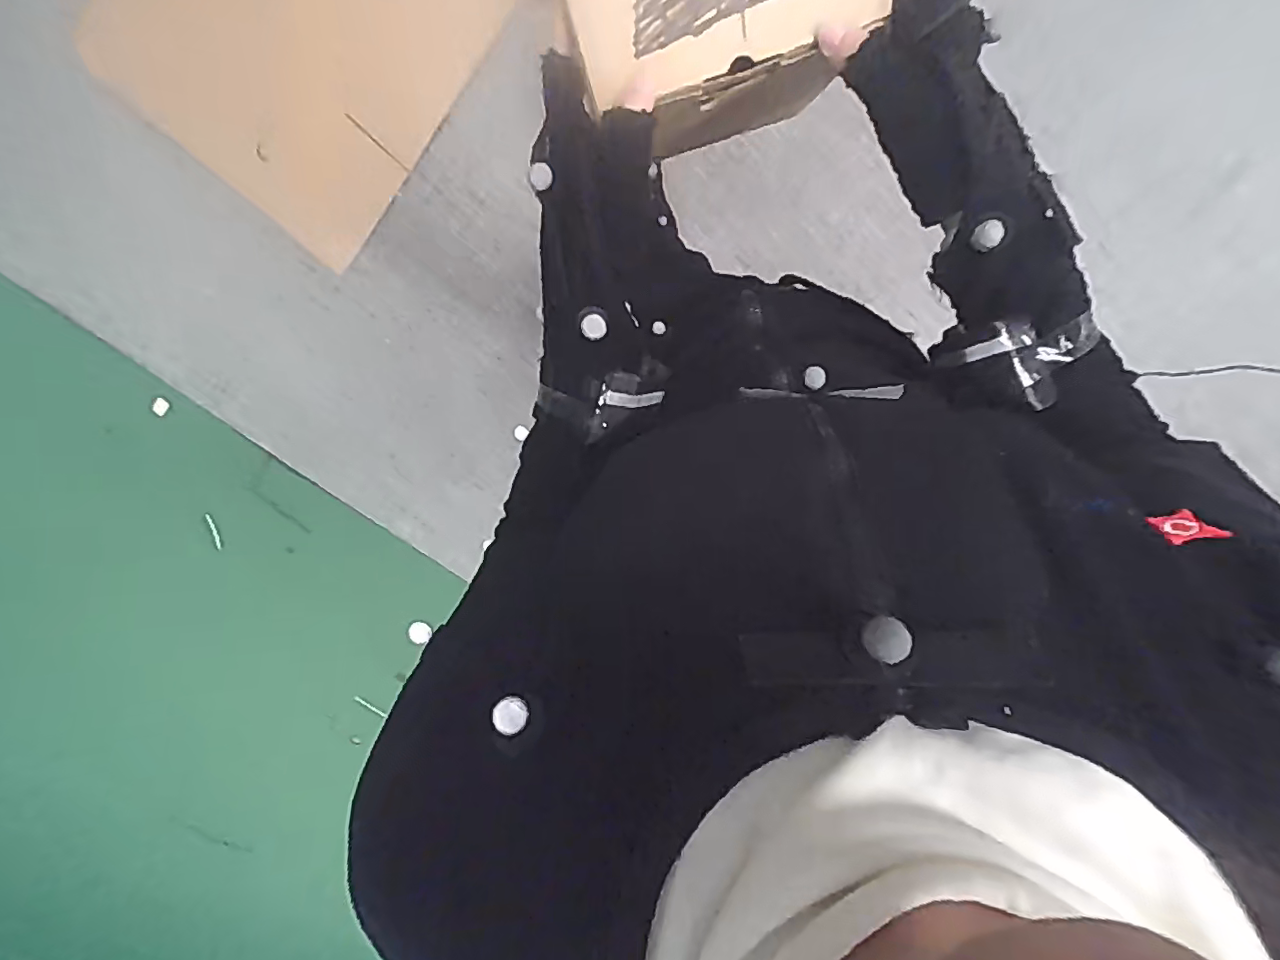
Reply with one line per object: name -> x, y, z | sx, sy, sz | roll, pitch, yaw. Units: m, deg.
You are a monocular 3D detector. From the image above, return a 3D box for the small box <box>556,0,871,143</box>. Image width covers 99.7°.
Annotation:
small box -> 0.023, -0.340, 0.342 | 0.168, 0.176, 0.179 | -18, 111, 6
